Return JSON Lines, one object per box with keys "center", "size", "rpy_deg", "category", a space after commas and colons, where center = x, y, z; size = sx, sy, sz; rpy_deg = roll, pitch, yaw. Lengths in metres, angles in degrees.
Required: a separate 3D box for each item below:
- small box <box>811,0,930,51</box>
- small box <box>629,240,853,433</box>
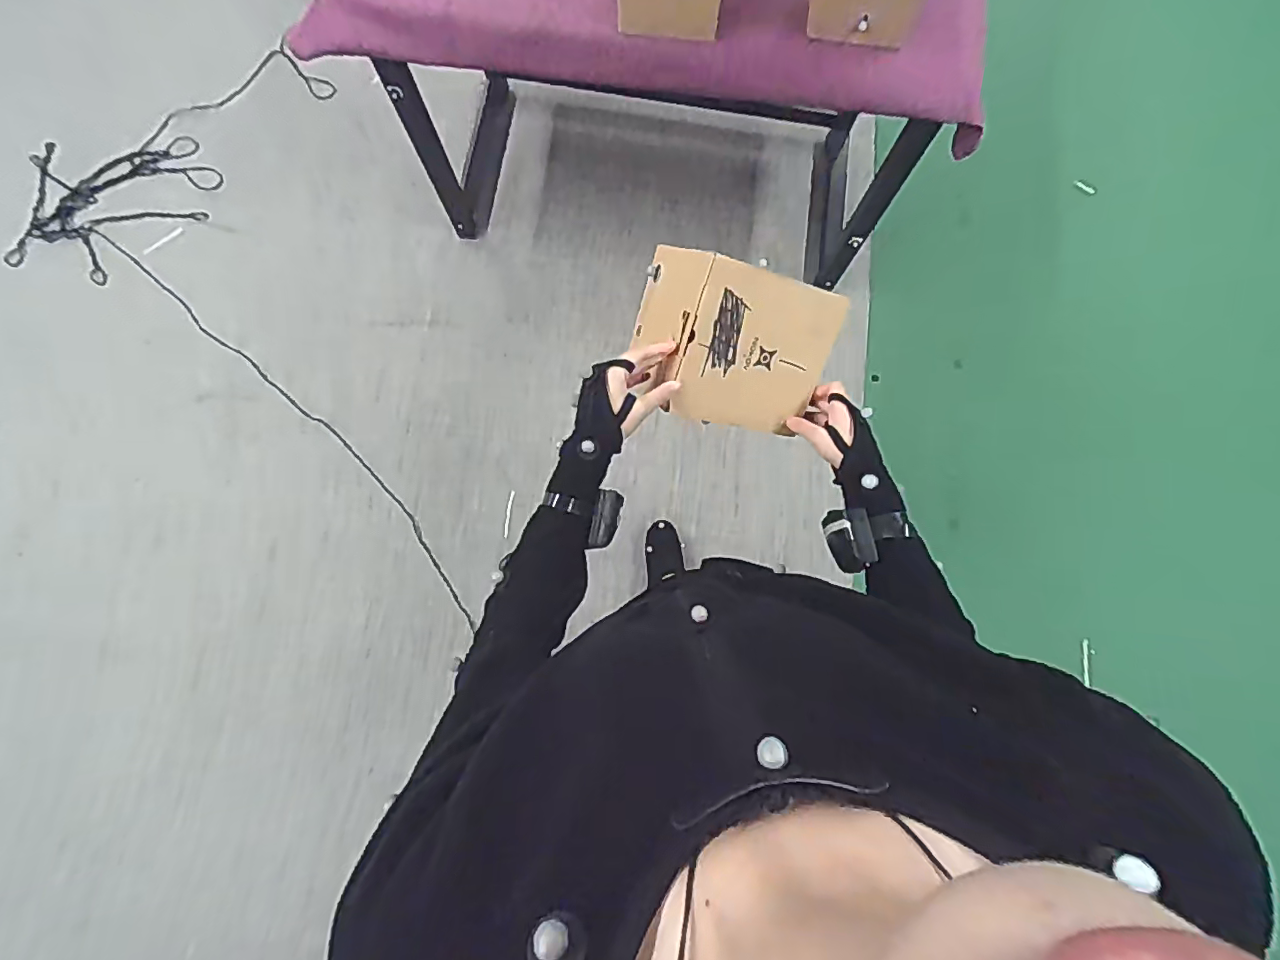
{"center": [0.408, -0.875, 0.915], "size": [0.179, 0.176, 0.168], "rpy_deg": [8, 77, 2], "category": "small box"}
{"center": [0.102, -0.171, 0.636], "size": [0.179, 0.176, 0.168], "rpy_deg": [8, 111, -23], "category": "small box"}
